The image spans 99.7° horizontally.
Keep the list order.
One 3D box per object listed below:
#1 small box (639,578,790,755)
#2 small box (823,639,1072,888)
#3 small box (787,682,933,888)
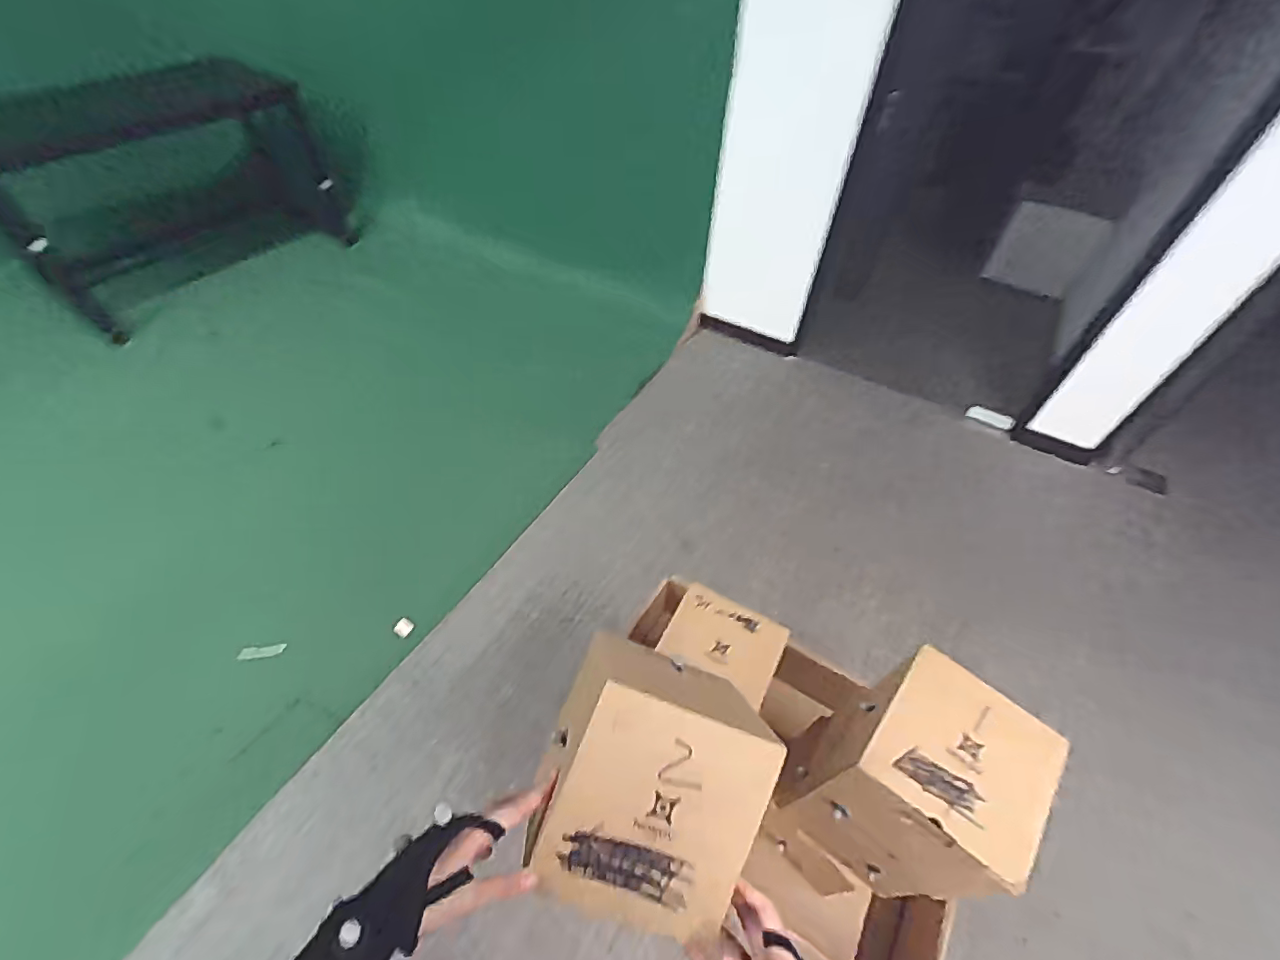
[{"bbox_3d":[0.109,0.293,0.839,0.168,0.176,0.179,26,55,16],"label":"small box"},{"bbox_3d":[0.332,0.326,0.618,0.168,0.176,0.179,36,57,23],"label":"small box"},{"bbox_3d":[0.323,0.424,0.748,0.168,0.176,0.179,34,57,21],"label":"small box"}]
